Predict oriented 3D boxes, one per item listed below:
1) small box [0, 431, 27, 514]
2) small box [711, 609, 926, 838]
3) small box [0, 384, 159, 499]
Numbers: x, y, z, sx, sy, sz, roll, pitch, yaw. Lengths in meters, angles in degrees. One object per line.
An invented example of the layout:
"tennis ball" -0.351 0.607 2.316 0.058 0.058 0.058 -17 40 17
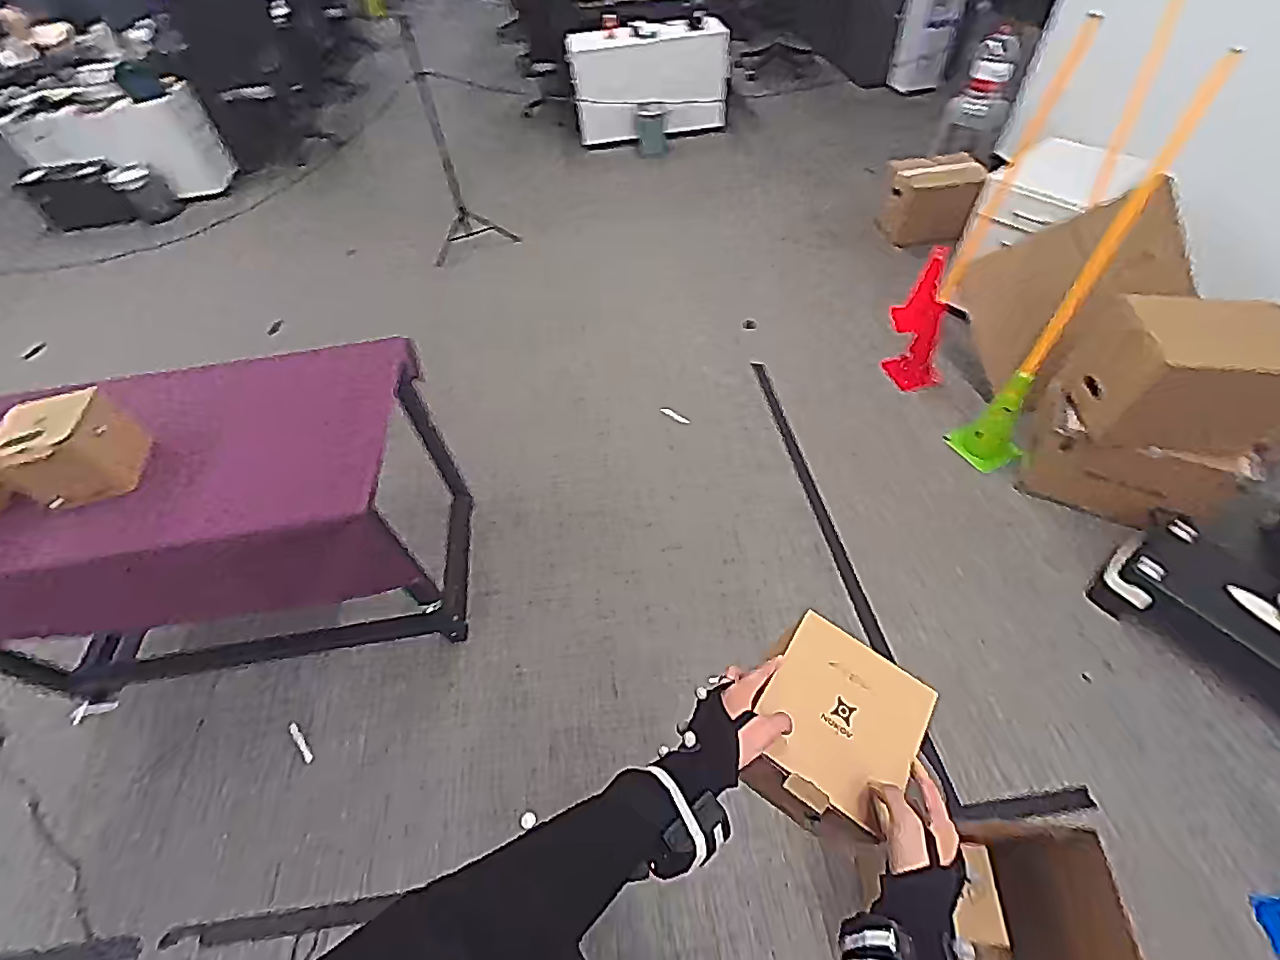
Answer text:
"small box" -1.500 -0.024 1.173 0.168 0.176 0.179 -15 52 -6
"small box" 0.201 0.295 0.653 0.168 0.176 0.179 33 60 15
"small box" -1.224 -0.078 1.195 0.168 0.176 0.179 -16 51 -8
